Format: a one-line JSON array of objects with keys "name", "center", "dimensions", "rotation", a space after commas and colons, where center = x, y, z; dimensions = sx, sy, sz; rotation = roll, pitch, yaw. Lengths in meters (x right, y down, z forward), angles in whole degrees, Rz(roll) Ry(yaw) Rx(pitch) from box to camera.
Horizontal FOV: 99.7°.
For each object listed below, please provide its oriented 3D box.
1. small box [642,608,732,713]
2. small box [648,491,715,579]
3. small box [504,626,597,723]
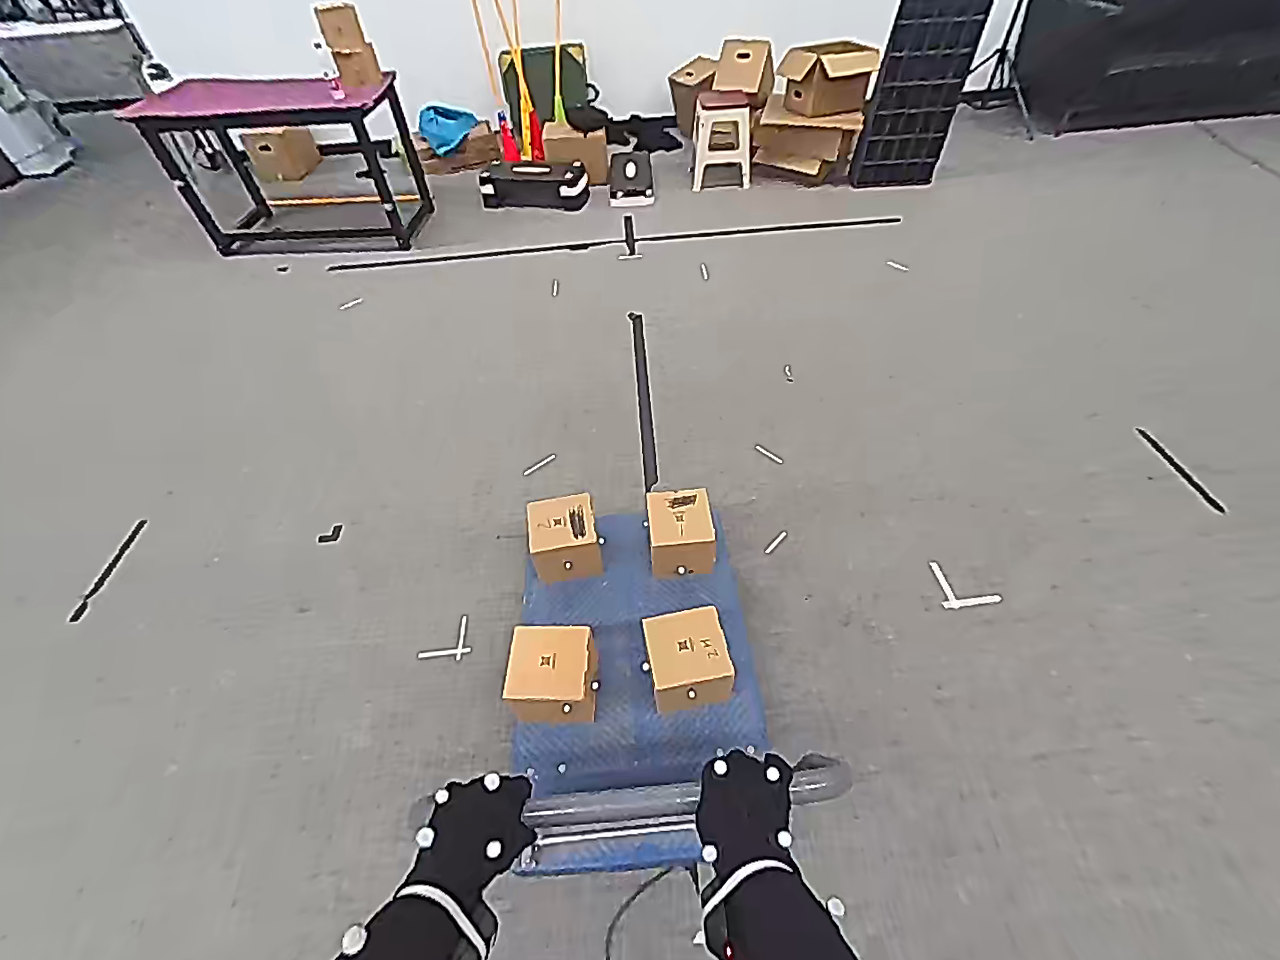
[{"name": "small box", "center": [0.107, 0.423, 1.258], "dimensions": [0.179, 0.176, 0.168], "rotation": [-9, 50, -4]}, {"name": "small box", "center": [0.110, 0.153, 1.489], "dimensions": [0.168, 0.176, 0.179], "rotation": [-5, 50, 0]}, {"name": "small box", "center": [-0.199, 0.454, 1.254], "dimensions": [0.179, 0.176, 0.168], "rotation": [0, 49, 2]}]
